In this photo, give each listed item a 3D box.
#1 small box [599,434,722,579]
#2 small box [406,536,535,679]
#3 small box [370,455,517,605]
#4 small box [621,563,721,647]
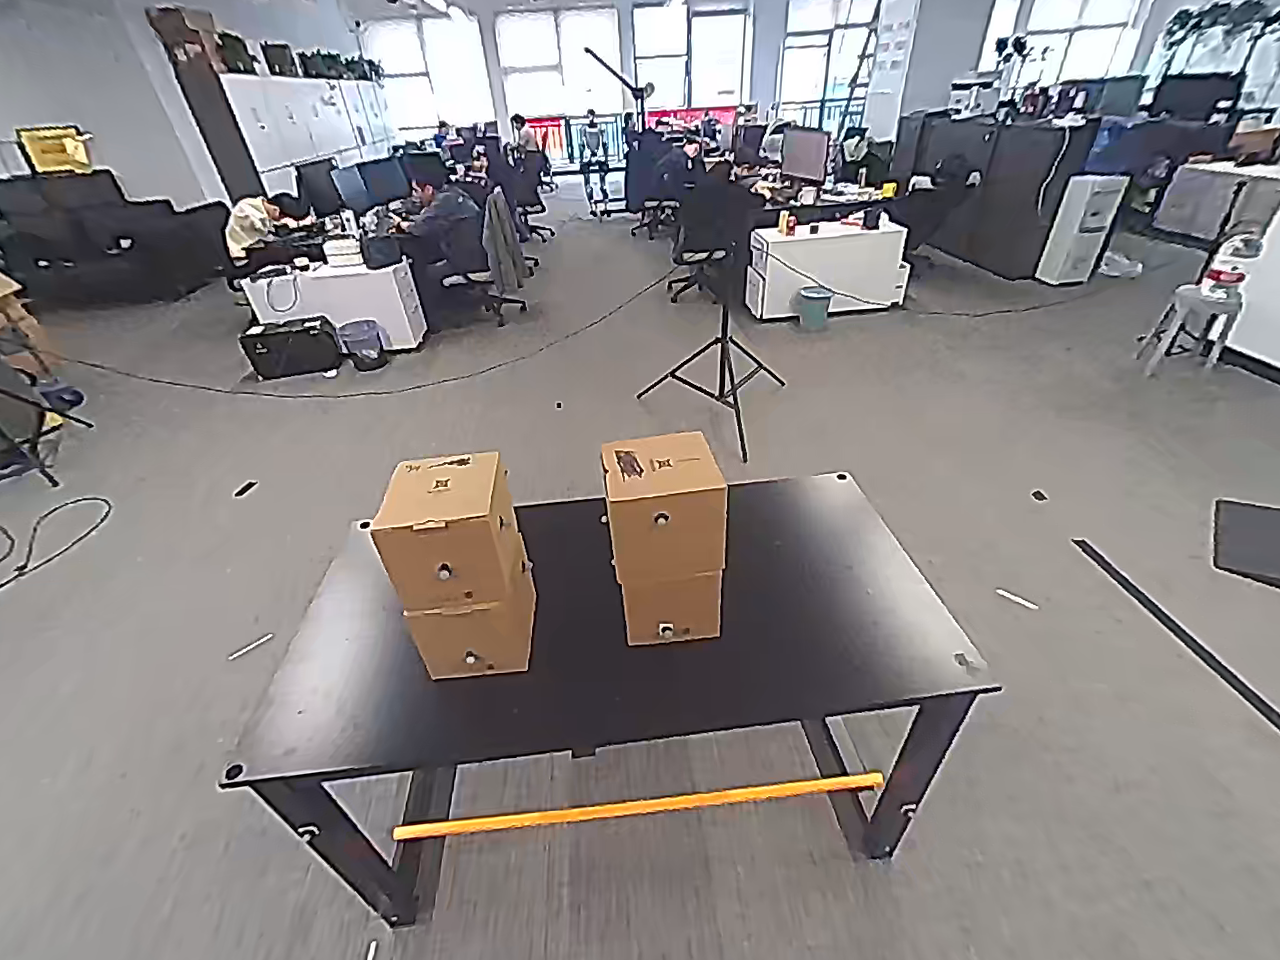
[{"bbox_3d":[0.033,0.045,0.888,0.179,0.176,0.168,-8,35,-4],"label":"small box"},{"bbox_3d":[-0.285,0.222,0.953,0.168,0.176,0.179,-5,36,-1],"label":"small box"},{"bbox_3d":[-0.298,0.084,0.865,0.168,0.176,0.179,-7,36,-4],"label":"small box"},{"bbox_3d":[0.048,0.176,0.987,0.168,0.176,0.179,-8,36,-2],"label":"small box"}]
